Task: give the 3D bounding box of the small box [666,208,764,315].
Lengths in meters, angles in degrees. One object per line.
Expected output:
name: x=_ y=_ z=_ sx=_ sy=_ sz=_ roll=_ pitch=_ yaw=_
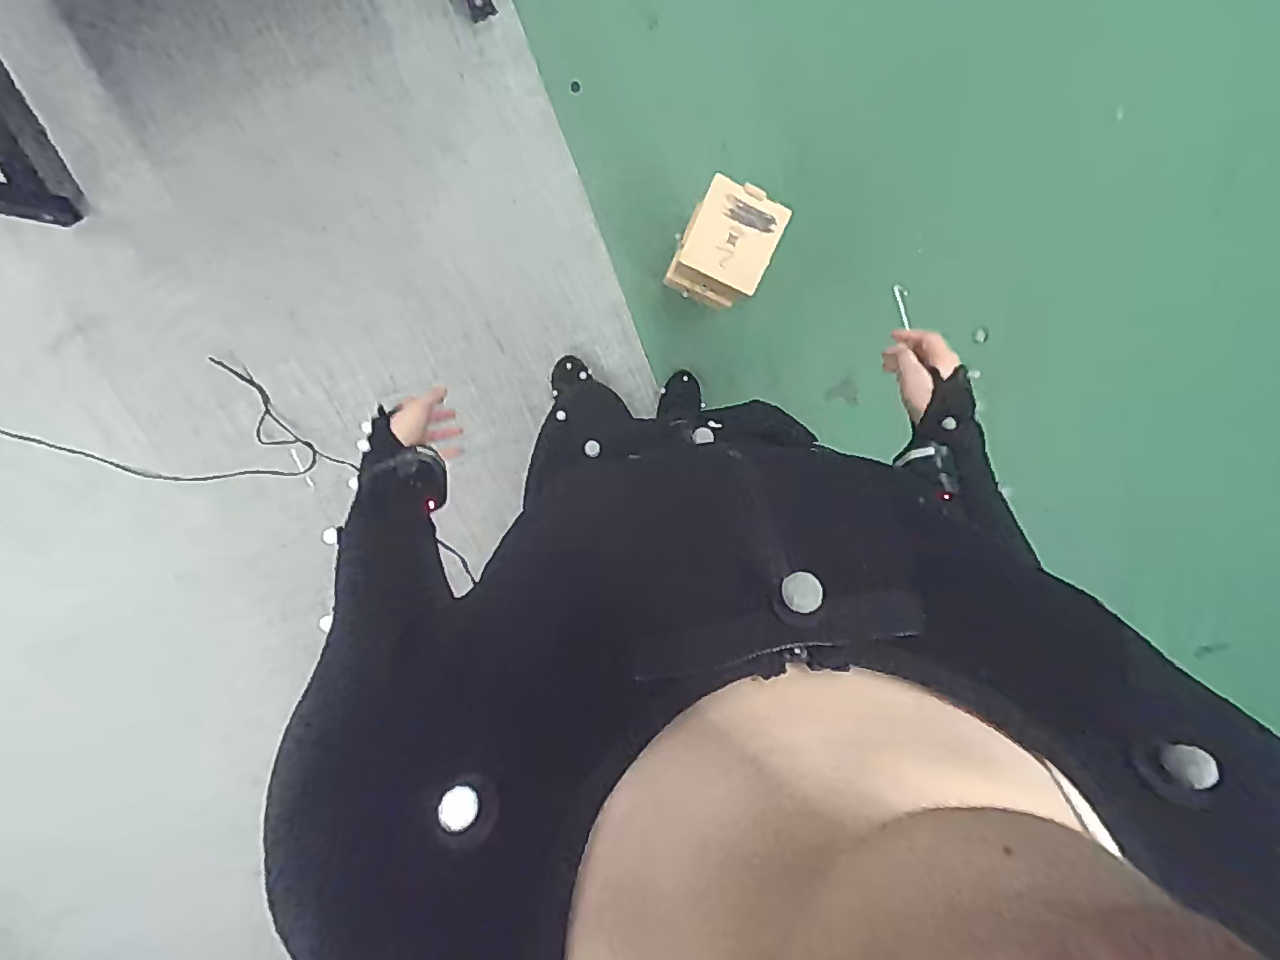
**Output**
small box: x=0.170 y=-0.506 z=1.282 sx=0.168 sy=0.176 sz=0.179 roll=23 pitch=102 yaw=-5
